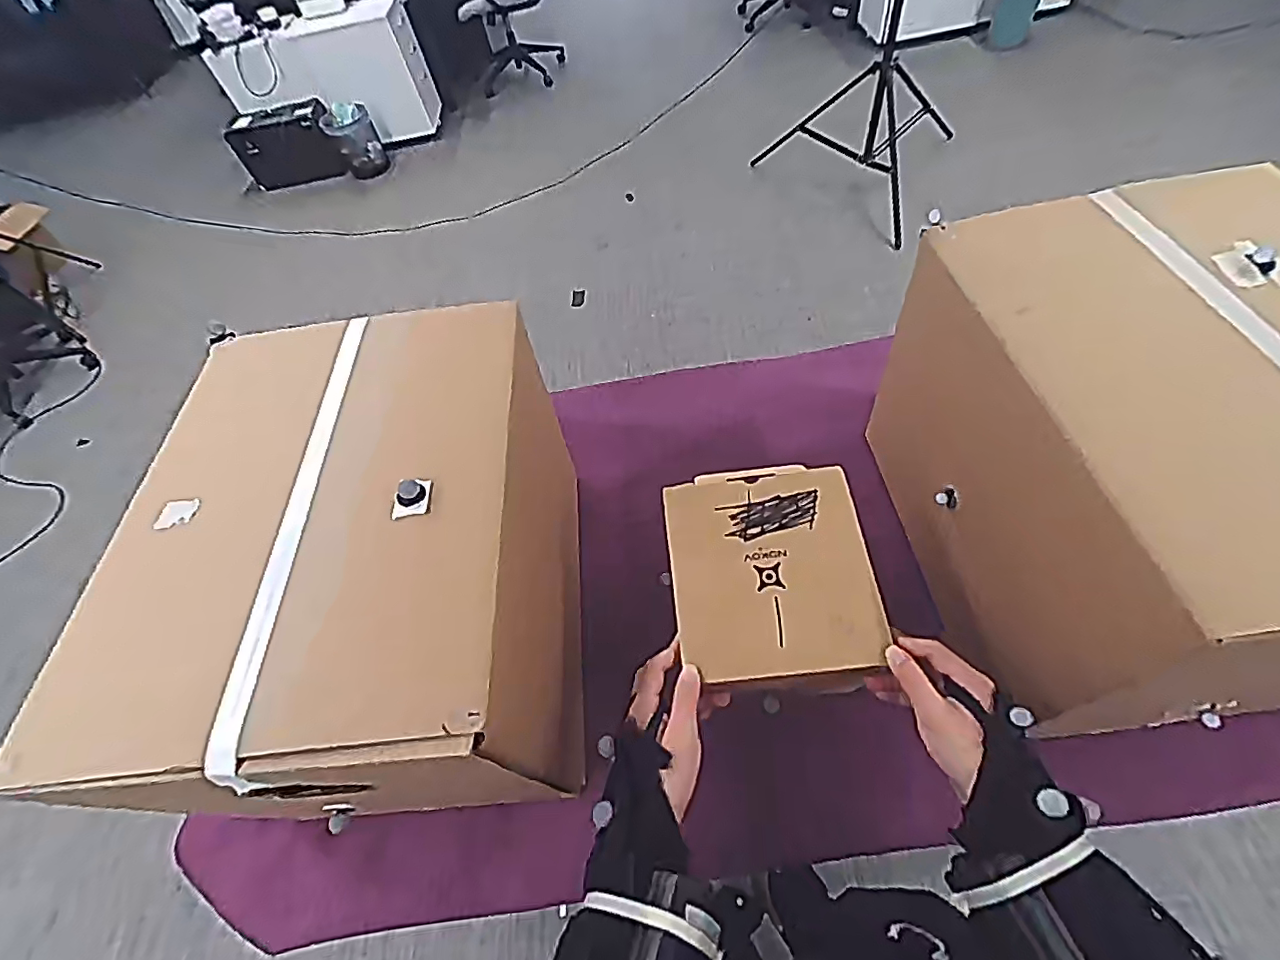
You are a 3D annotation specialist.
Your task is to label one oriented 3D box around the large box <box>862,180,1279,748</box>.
[{"bbox_3d":[0.451,-0.008,0.513,0.320,0.320,0.408,-9,54,4],"label":"large box"}]
